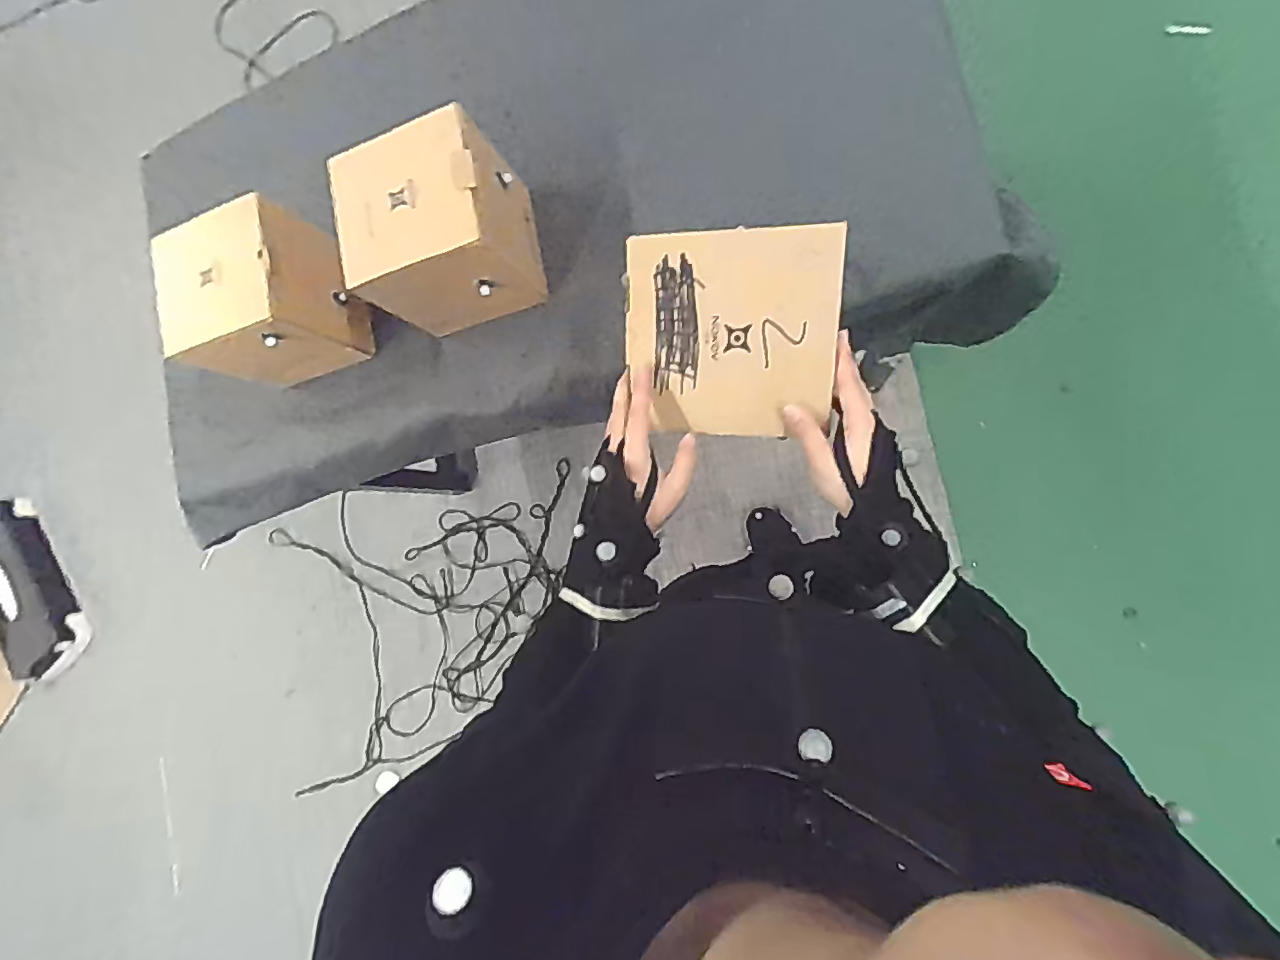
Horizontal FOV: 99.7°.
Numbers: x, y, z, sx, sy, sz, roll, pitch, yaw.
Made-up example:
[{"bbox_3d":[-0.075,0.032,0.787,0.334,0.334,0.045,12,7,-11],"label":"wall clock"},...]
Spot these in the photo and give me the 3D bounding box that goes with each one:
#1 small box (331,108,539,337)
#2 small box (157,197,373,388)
[{"bbox_3d":[-0.240,-0.300,0.672,0.179,0.176,0.168,-14,81,16],"label":"small box"},{"bbox_3d":[-0.505,-0.240,0.743,0.179,0.176,0.168,-14,82,13],"label":"small box"}]
